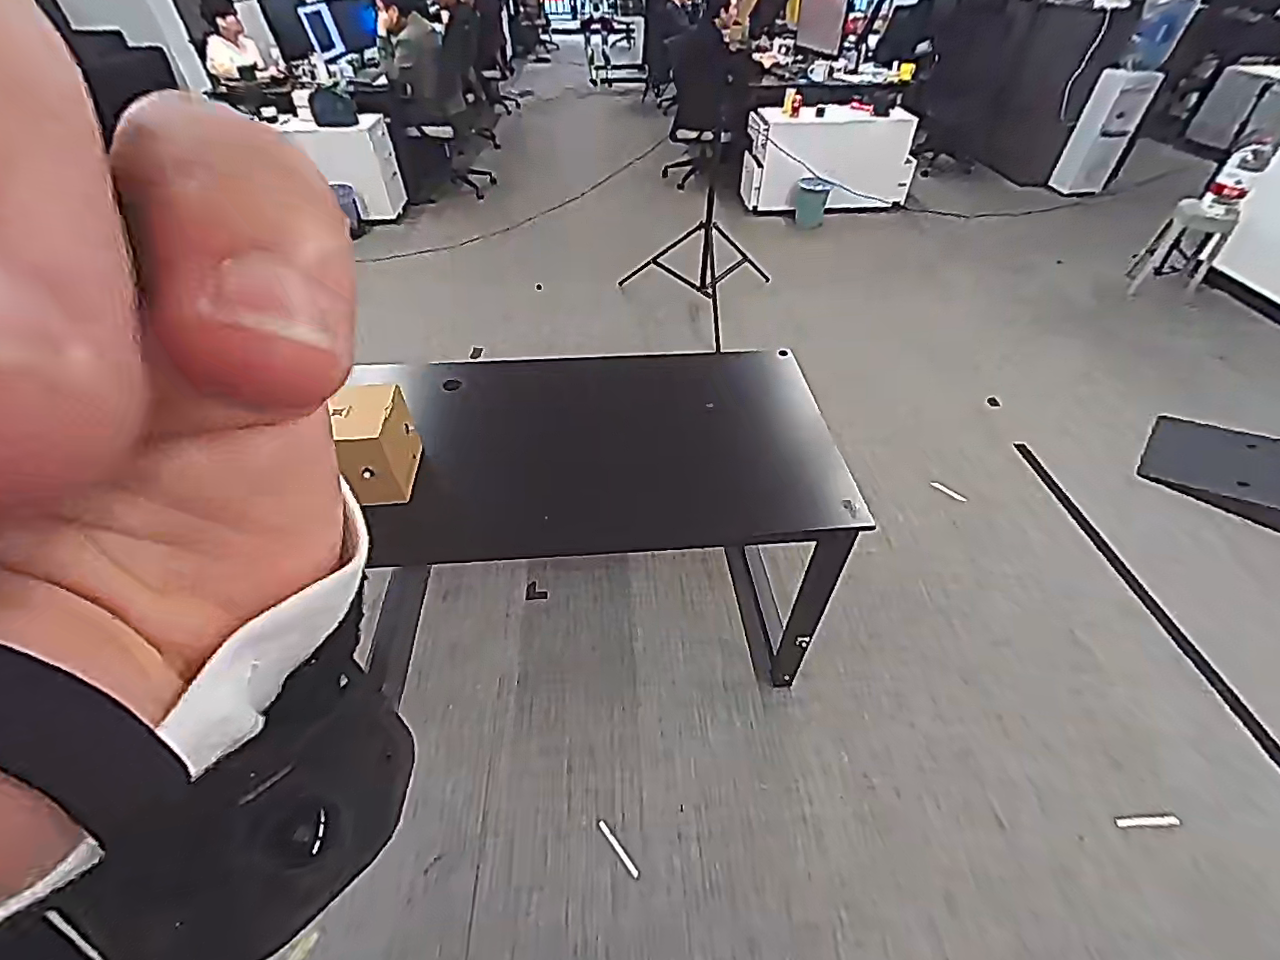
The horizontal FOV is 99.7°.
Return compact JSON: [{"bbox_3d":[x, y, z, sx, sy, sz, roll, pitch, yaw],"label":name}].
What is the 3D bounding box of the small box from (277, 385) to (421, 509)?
[{"bbox_3d":[-0.538,-0.061,1.034,0.179,0.176,0.168,-5,45,-4],"label":"small box"}]
